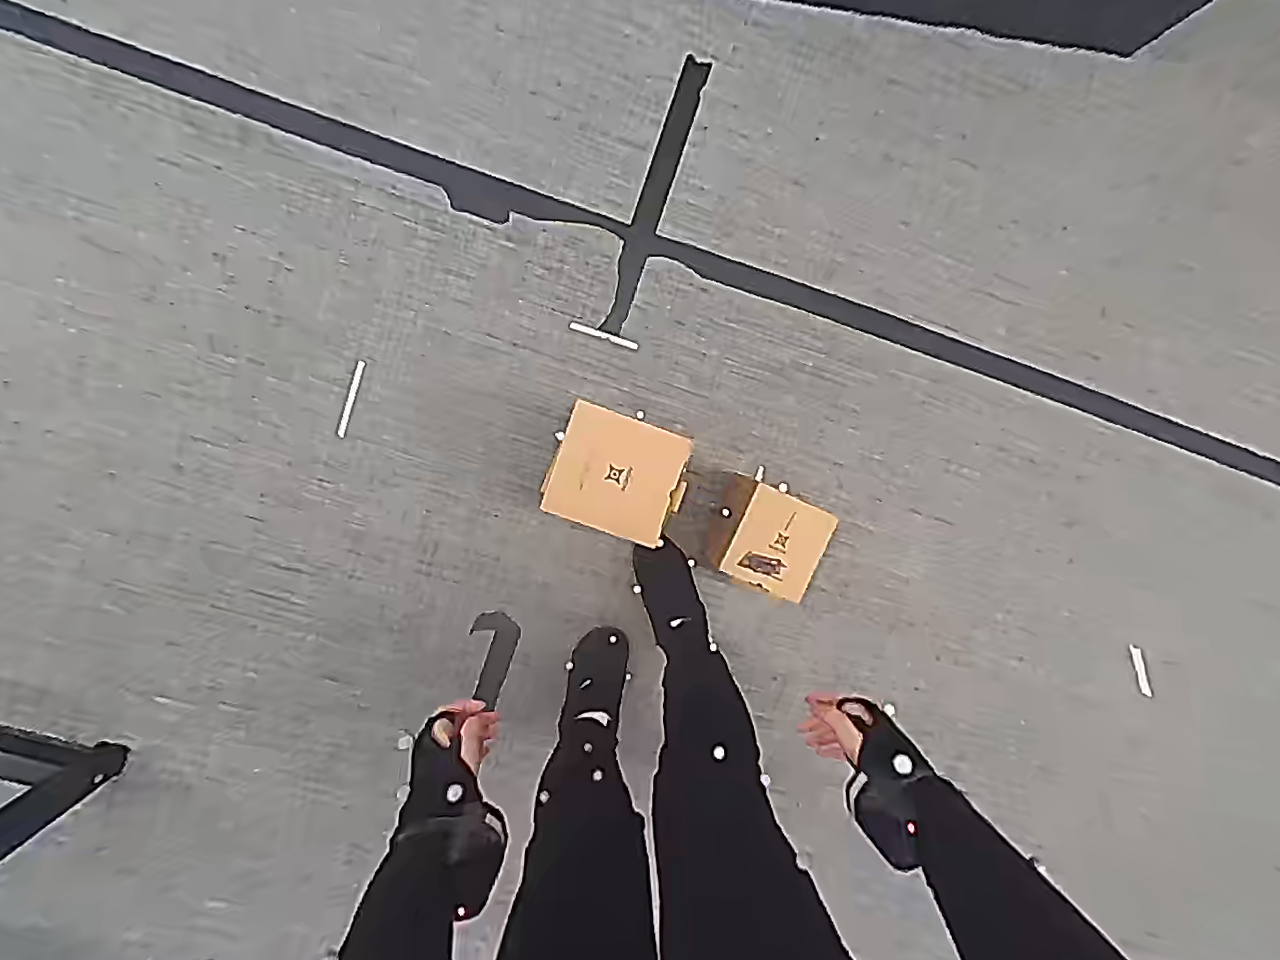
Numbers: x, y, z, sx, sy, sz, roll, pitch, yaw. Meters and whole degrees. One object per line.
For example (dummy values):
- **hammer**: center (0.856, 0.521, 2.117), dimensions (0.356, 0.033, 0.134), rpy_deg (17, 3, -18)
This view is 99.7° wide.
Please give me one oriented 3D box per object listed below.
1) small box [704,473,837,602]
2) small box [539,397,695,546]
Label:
- **small box**: center (0.235, 0.101, 1.032), dimensions (0.168, 0.176, 0.179), rpy_deg (24, 93, -8)
- **small box**: center (-0.039, -0.020, 0.825), dimensions (0.179, 0.176, 0.168), rpy_deg (20, 94, -7)
